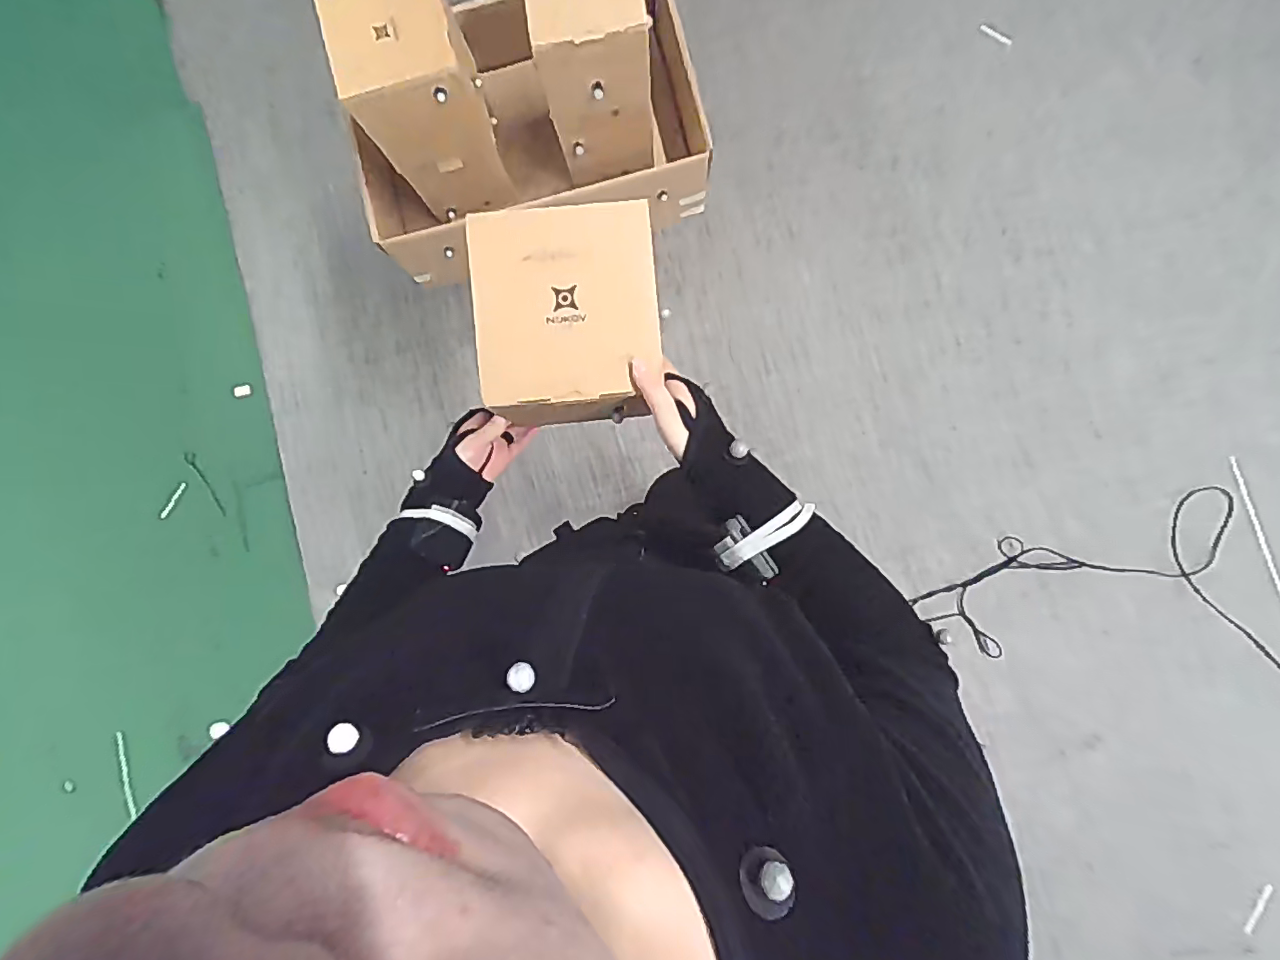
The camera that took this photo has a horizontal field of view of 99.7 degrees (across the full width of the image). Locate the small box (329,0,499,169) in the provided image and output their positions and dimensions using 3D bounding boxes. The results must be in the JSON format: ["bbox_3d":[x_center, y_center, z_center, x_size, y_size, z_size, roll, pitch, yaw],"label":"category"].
[{"bbox_3d":[-0.346,-0.631,0.854,0.179,0.176,0.168,-15,86,1],"label":"small box"}]

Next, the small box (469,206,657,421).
[{"bbox_3d":[-0.069,-0.157,0.569,0.168,0.176,0.179,-4,89,-1],"label":"small box"}]

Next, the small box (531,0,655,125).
[{"bbox_3d":[-0.069,-0.687,0.838,0.168,0.176,0.179,-7,87,3],"label":"small box"}]
